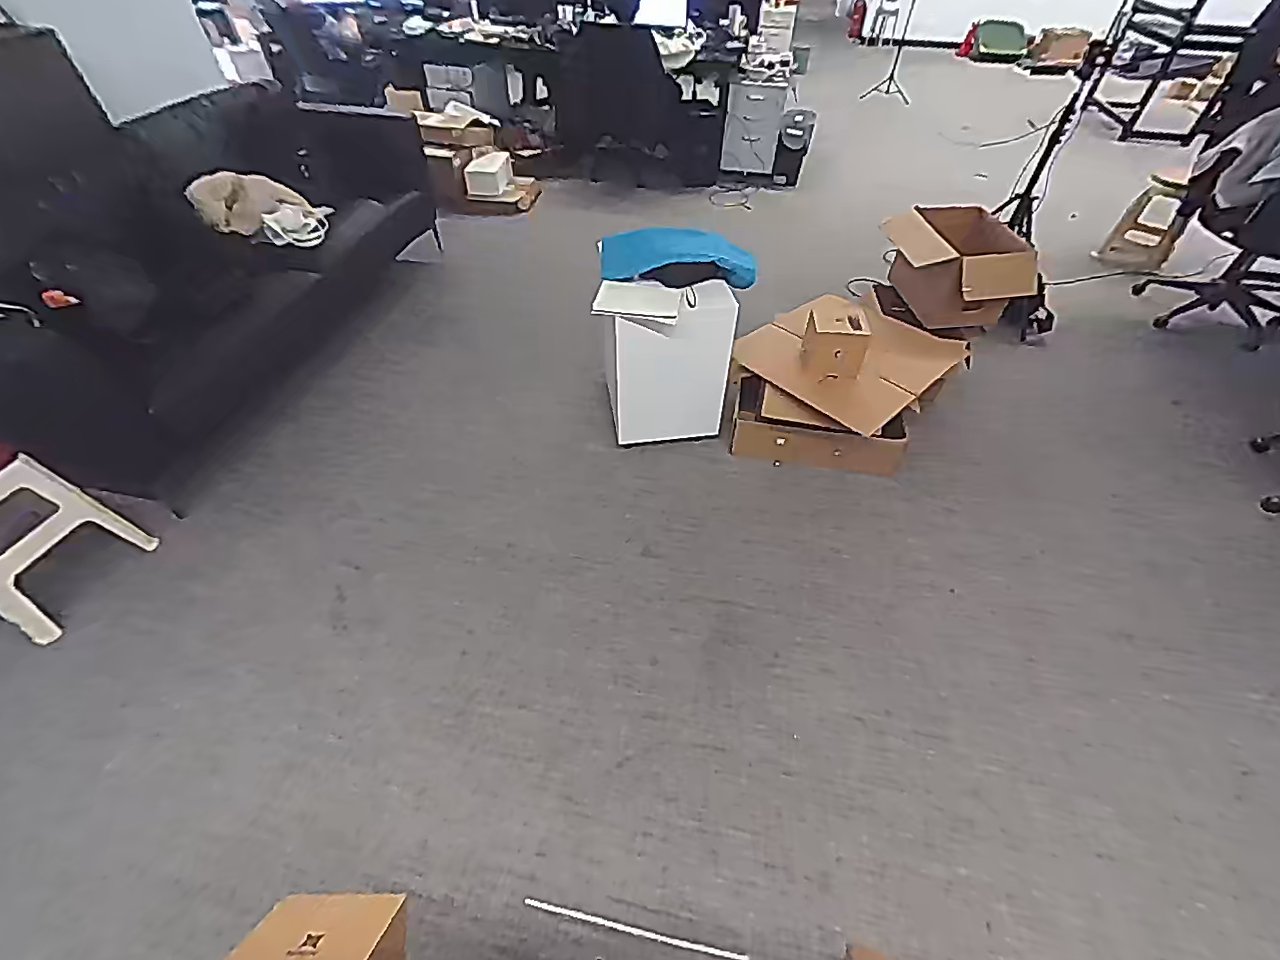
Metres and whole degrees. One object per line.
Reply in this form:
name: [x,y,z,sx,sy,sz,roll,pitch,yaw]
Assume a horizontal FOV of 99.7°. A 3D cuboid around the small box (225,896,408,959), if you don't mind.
small box: [-0.396,0.639,0.641,0.168,0.179,0.176,0,84,-1]
